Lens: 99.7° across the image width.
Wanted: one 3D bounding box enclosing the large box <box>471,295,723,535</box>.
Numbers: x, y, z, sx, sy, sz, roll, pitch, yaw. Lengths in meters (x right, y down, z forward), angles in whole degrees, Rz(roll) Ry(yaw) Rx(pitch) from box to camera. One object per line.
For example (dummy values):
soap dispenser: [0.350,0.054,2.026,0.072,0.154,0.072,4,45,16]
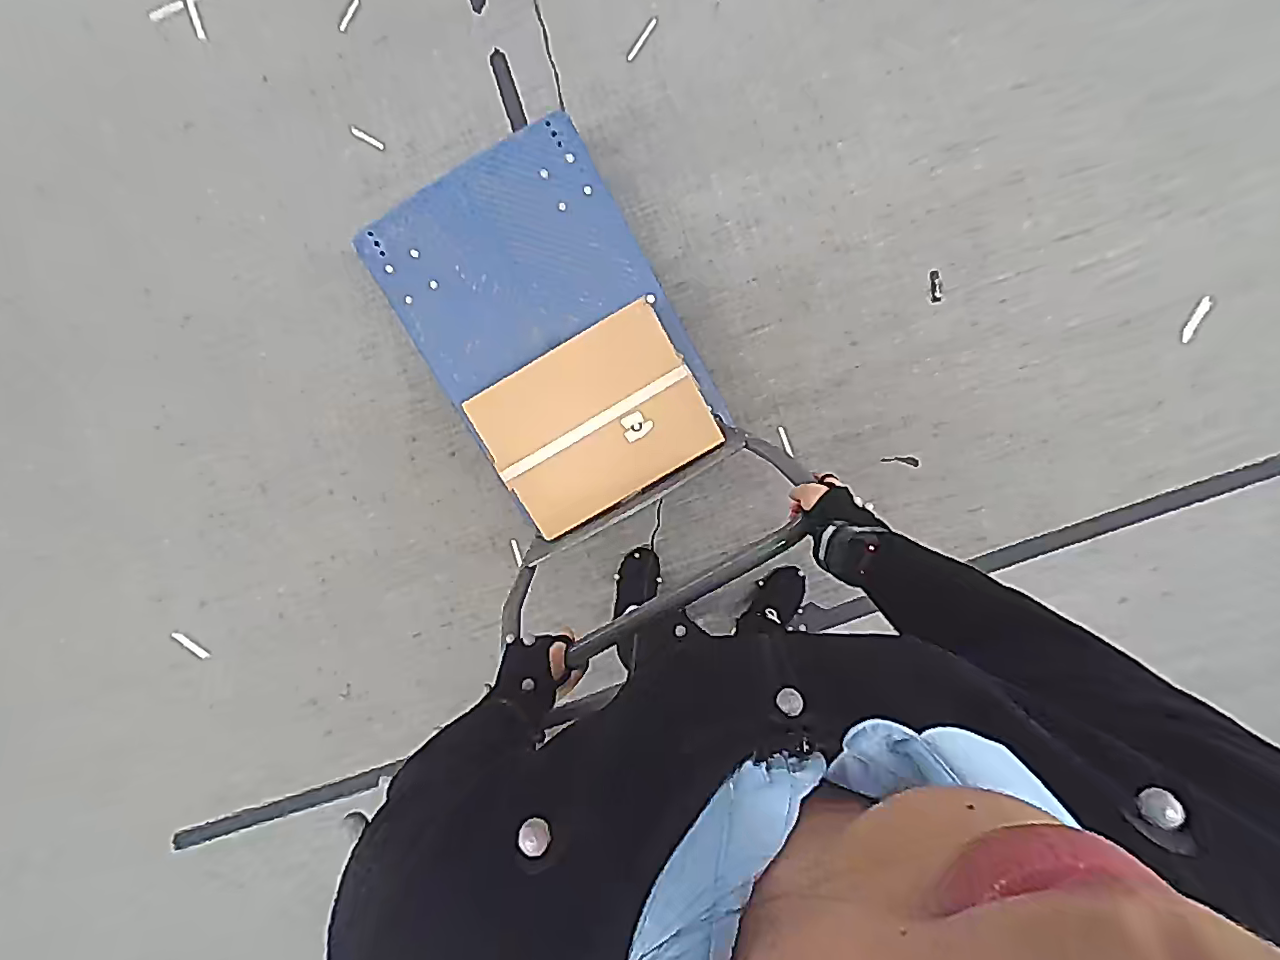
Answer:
large box: [-0.087,-0.138,1.188,0.408,0.320,0.320,-31,100,2]
